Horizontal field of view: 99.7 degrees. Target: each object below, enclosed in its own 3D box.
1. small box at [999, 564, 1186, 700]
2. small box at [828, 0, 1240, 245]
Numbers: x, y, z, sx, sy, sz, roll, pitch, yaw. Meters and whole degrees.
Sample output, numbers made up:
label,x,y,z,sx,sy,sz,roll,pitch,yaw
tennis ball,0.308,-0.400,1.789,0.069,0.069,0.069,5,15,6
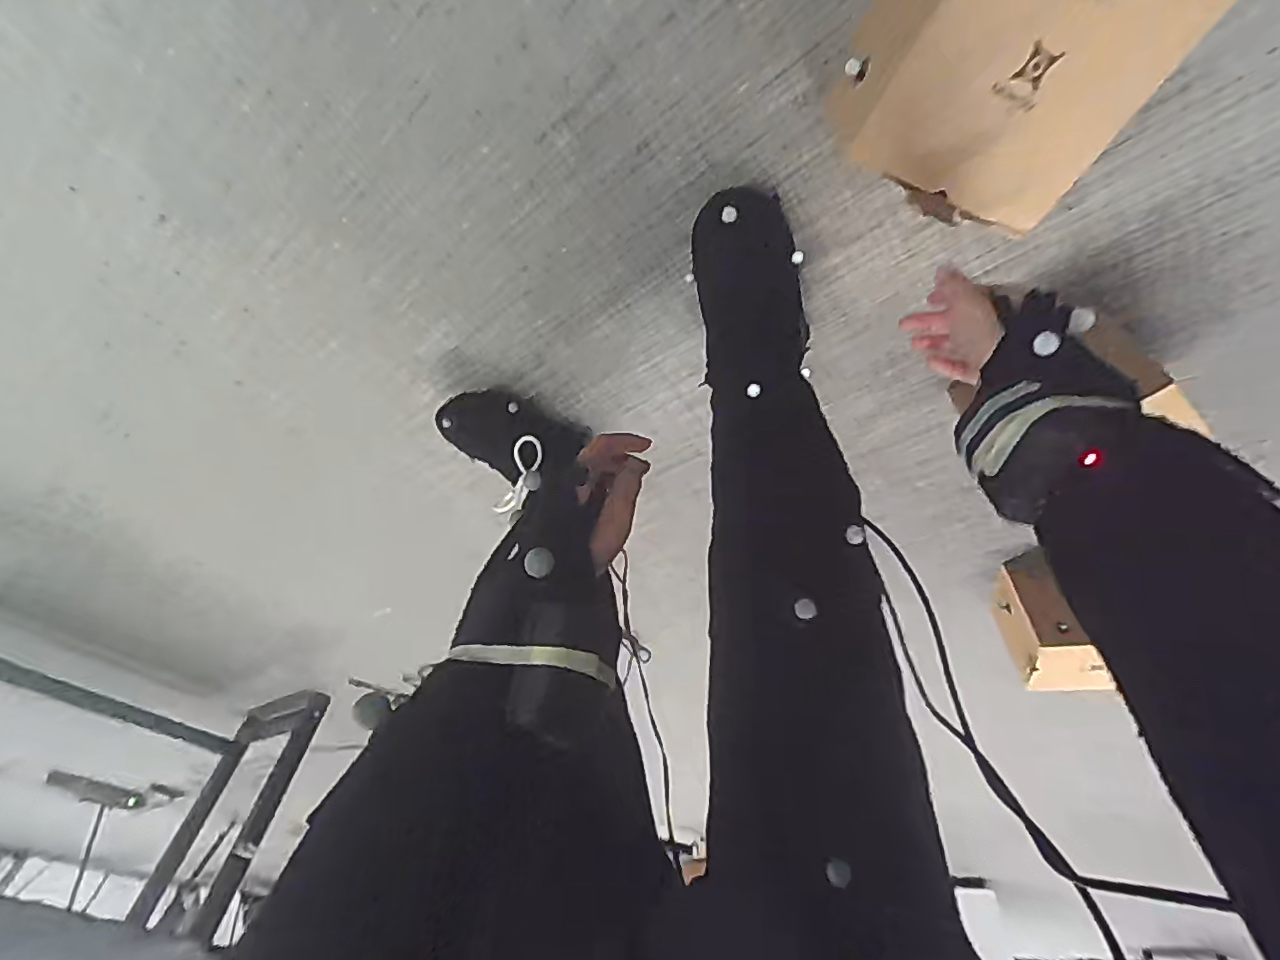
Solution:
label,x,y,z,sx,sy,sz,roll,pitch,yaw
small box,0.749,0.257,0.921,0.179,0.176,0.168,-9,133,17
small box,0.265,-0.322,0.414,0.168,0.176,0.179,17,133,-11
